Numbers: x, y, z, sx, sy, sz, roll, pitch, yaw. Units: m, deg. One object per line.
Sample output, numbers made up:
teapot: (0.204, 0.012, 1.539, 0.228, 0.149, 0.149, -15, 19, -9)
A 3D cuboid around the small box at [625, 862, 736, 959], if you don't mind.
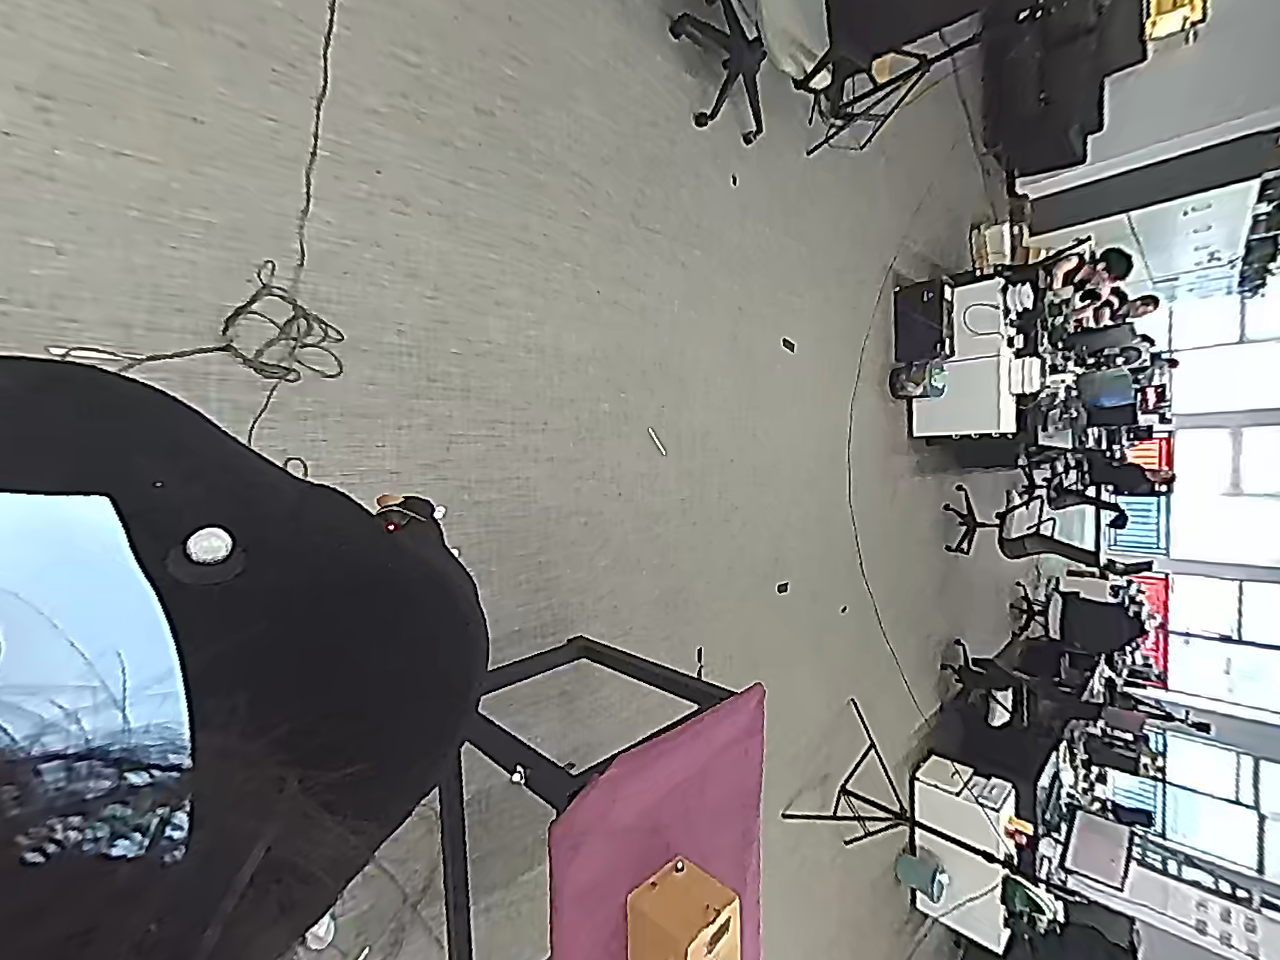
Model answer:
small box: (0.081, 0.939, 1.119, 0.168, 0.176, 0.179, -4, 94, -44)
